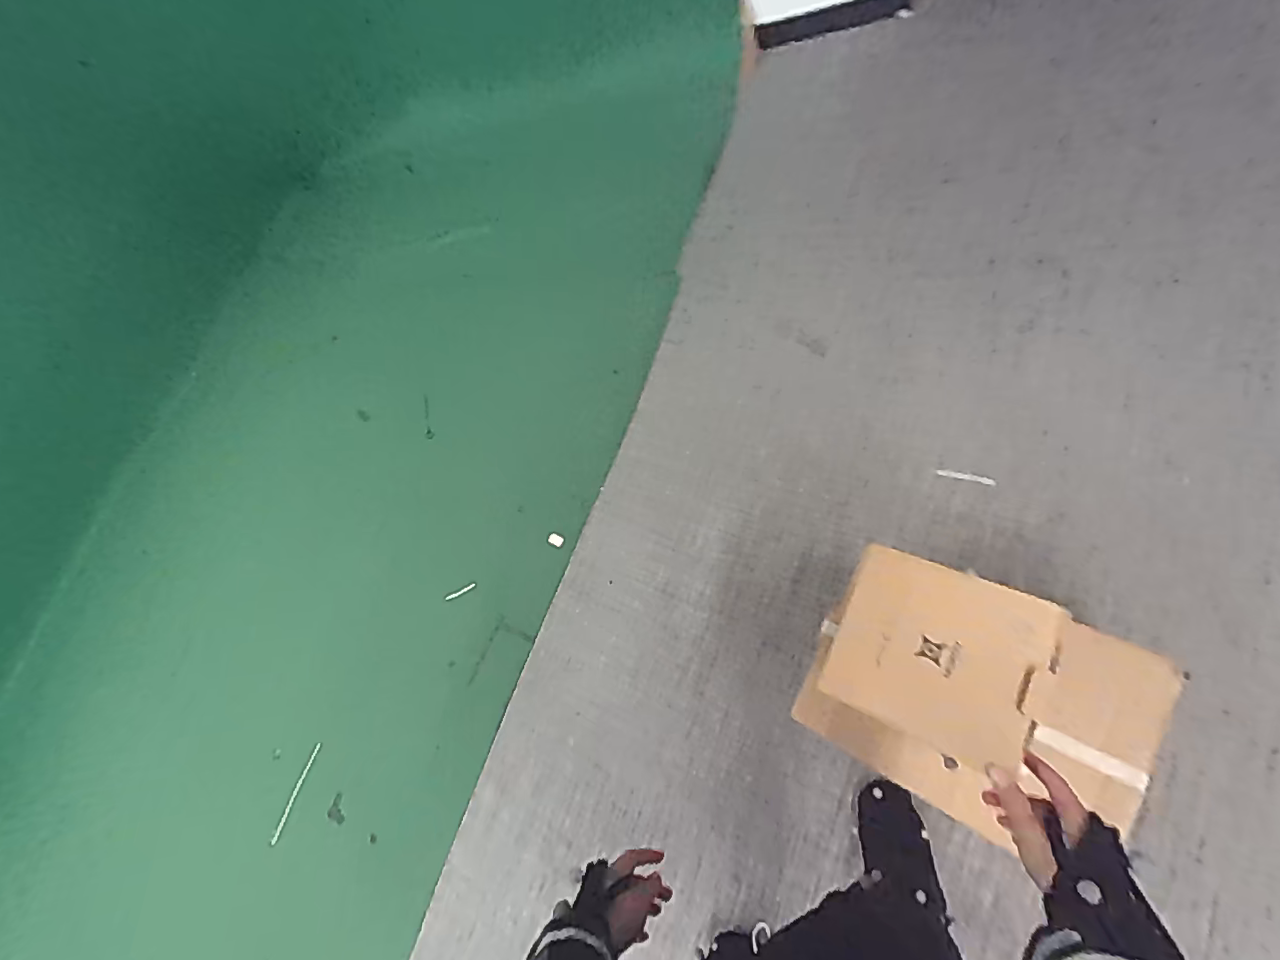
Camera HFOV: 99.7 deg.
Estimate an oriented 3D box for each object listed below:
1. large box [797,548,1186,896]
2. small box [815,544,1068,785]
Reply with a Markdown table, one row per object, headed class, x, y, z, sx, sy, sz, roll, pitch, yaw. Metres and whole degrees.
| class | x | y | z | sx | sy | sz | roll | pitch | yaw |
| --- | --- | --- | --- | --- | --- | --- | --- | --- | --- |
| large box | 0.529 | 0.351 | 0.888 | 0.408 | 0.320 | 0.320 | 22 | 83 | 33 |
| small box | 0.314 | 0.189 | 0.580 | 0.179 | 0.176 | 0.168 | 19 | 79 | 33 |
